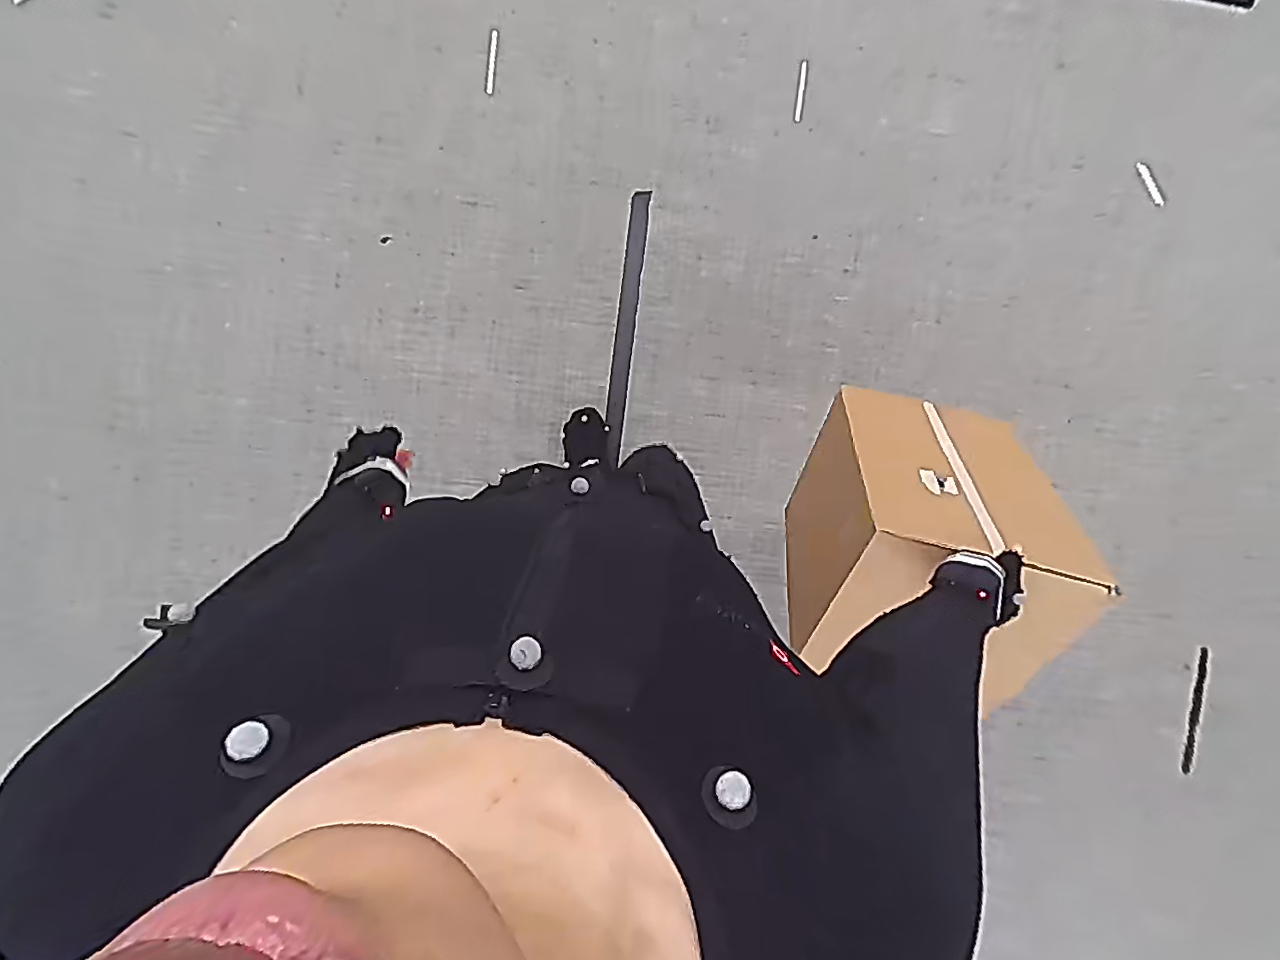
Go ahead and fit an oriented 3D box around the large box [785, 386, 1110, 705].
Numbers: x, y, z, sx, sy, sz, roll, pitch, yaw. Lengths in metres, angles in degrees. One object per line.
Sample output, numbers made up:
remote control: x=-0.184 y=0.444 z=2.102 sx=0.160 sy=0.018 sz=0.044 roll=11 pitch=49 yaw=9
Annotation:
large box: x=0.457 y=0.097 z=0.935 sx=0.320 sy=0.408 sz=0.320 roll=15 pitch=129 yaw=2
